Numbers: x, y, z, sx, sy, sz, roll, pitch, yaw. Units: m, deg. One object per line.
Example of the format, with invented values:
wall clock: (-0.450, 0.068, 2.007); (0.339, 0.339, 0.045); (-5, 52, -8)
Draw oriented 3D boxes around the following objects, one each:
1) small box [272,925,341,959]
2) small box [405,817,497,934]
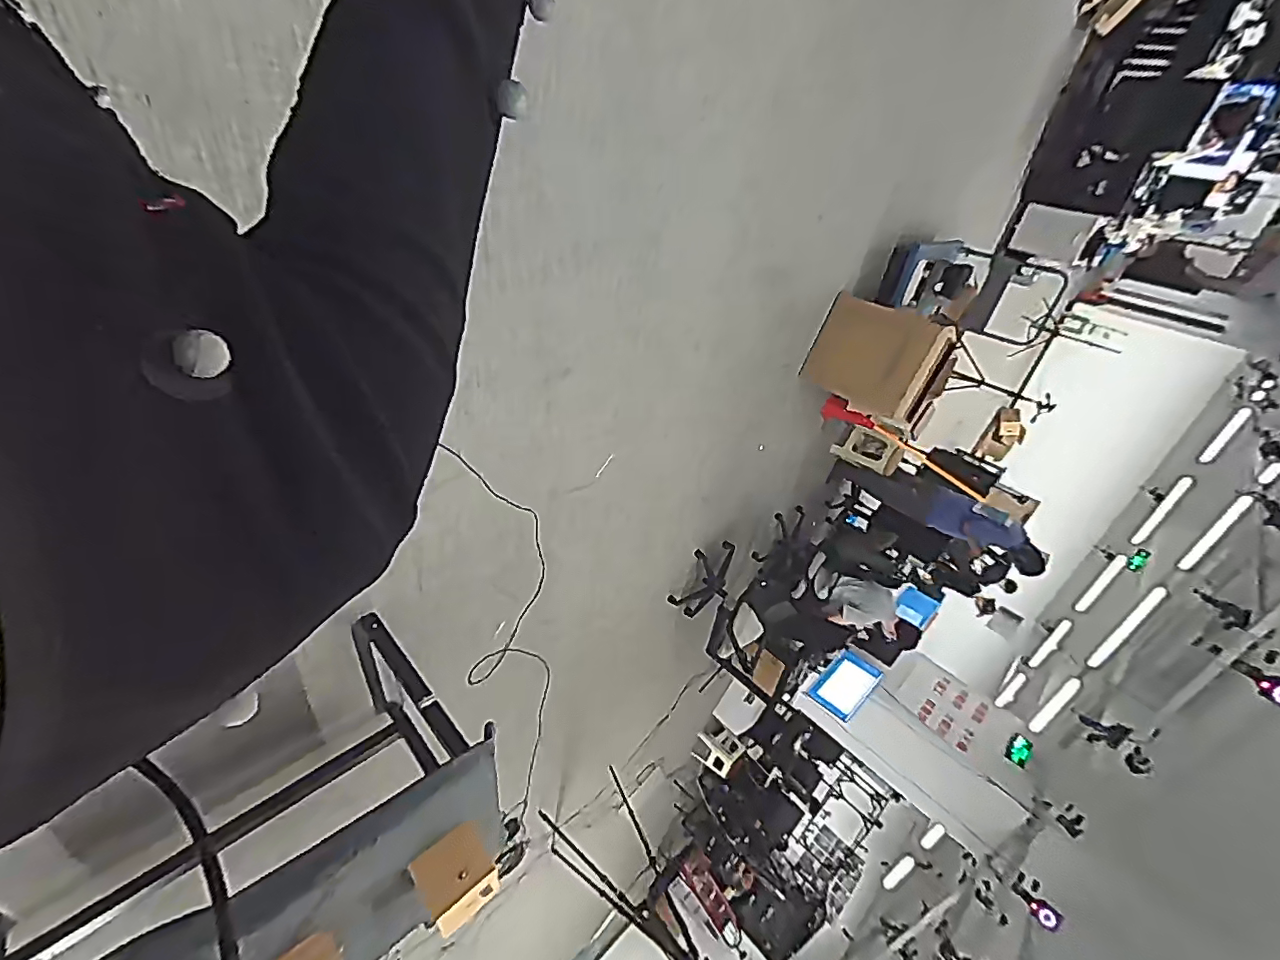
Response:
small box: (-0.783, 1.200, 1.262); (0.168, 0.176, 0.179); (-23, 135, -40)
small box: (-0.521, 1.088, 1.499); (0.179, 0.176, 0.168); (-26, 137, -36)
